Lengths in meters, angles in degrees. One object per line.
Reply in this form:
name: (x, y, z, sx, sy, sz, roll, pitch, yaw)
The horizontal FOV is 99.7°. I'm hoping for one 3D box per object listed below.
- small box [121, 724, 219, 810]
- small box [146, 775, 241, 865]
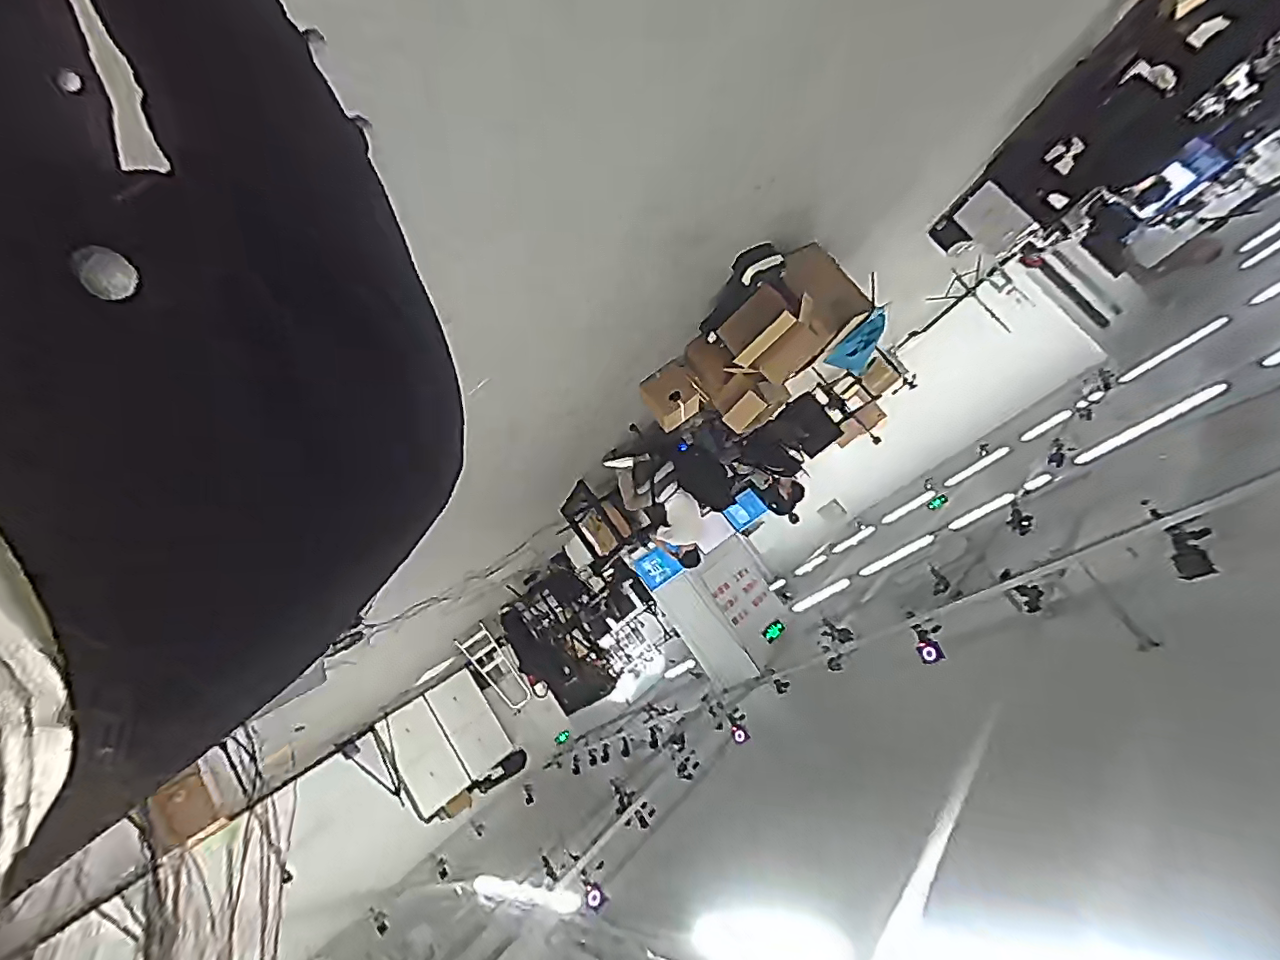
small box: (-1.465, 0.898, 1.692, 0.179, 0.176, 0.168, -26, 164, -40)
small box: (-1.360, 1.036, 1.654, 0.168, 0.176, 0.179, -29, 165, -40)
